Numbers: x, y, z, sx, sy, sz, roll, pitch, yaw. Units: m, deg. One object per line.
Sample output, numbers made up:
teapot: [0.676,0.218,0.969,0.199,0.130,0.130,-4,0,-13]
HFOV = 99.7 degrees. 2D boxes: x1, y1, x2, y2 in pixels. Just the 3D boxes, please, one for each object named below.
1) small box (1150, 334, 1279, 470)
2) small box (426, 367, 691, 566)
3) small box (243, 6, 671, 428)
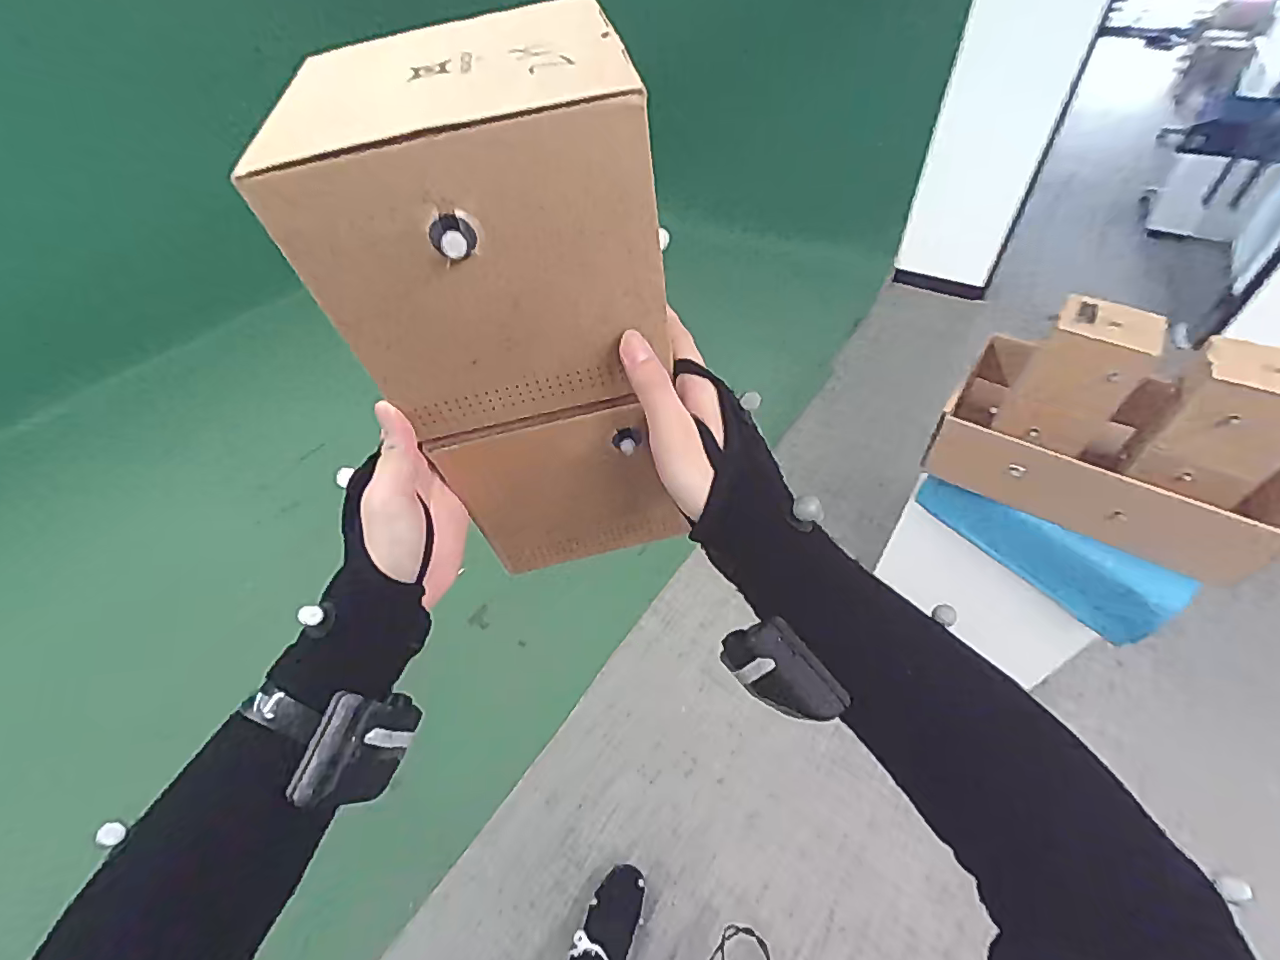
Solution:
small box: [1.114,-0.145,1.016,0.179,0.176,0.168,25,54,27]
small box: [-0.061,-0.045,0.476,0.179,0.176,0.168,-13,48,-1]
small box: [-0.085,-0.153,0.337,0.179,0.176,0.168,-12,53,-1]
